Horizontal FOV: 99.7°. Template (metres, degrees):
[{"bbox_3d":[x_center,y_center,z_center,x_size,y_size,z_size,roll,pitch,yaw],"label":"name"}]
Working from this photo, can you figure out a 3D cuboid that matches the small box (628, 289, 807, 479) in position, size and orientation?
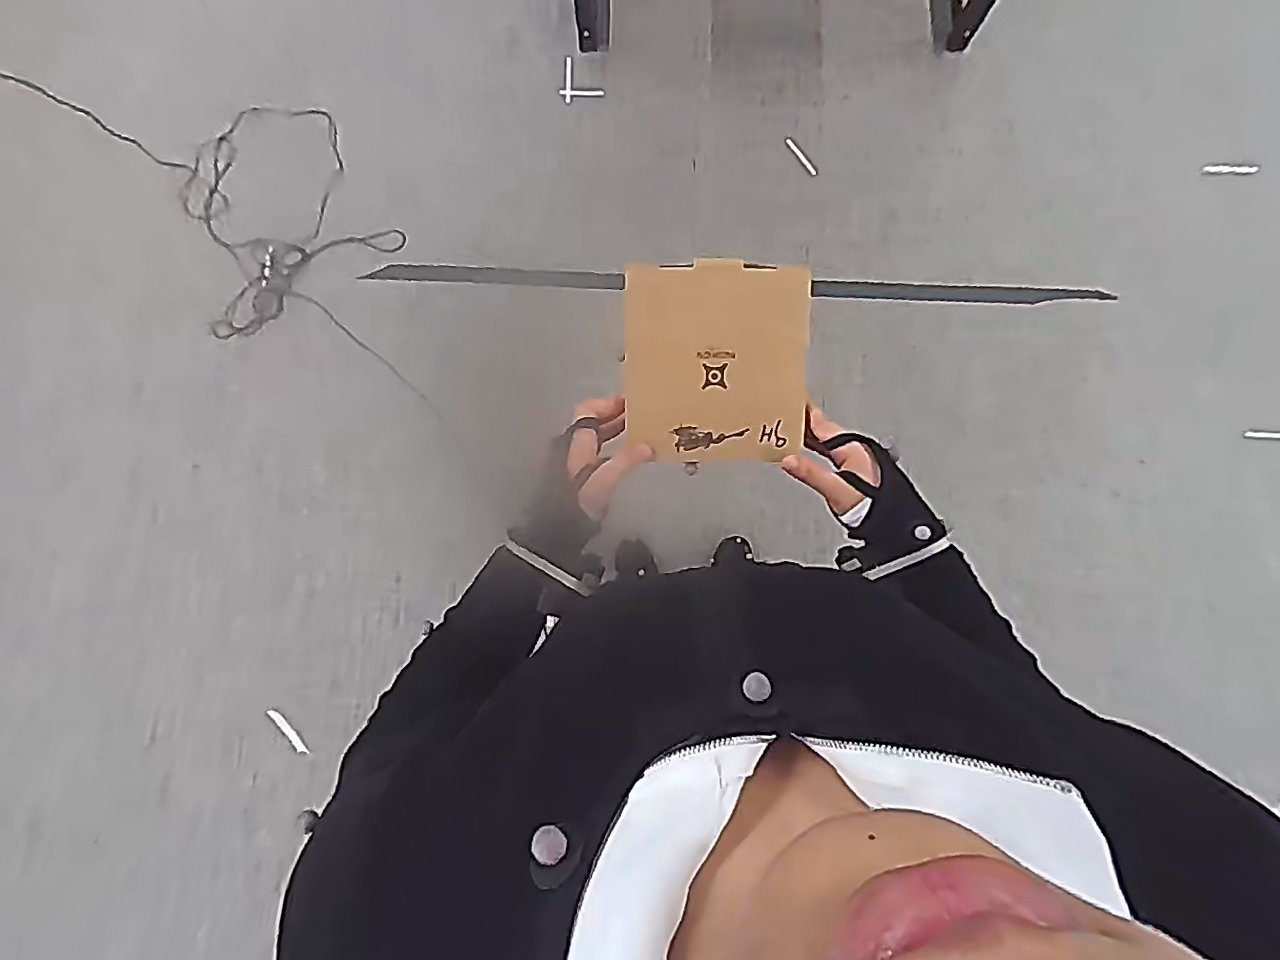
[{"bbox_3d":[0.071,-0.099,0.586,0.168,0.176,0.179,0,99,0],"label":"small box"}]

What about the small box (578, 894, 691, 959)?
[{"bbox_3d":[-0.006,0.821,0.889,0.179,0.176,0.168,0,83,2],"label":"small box"}]
